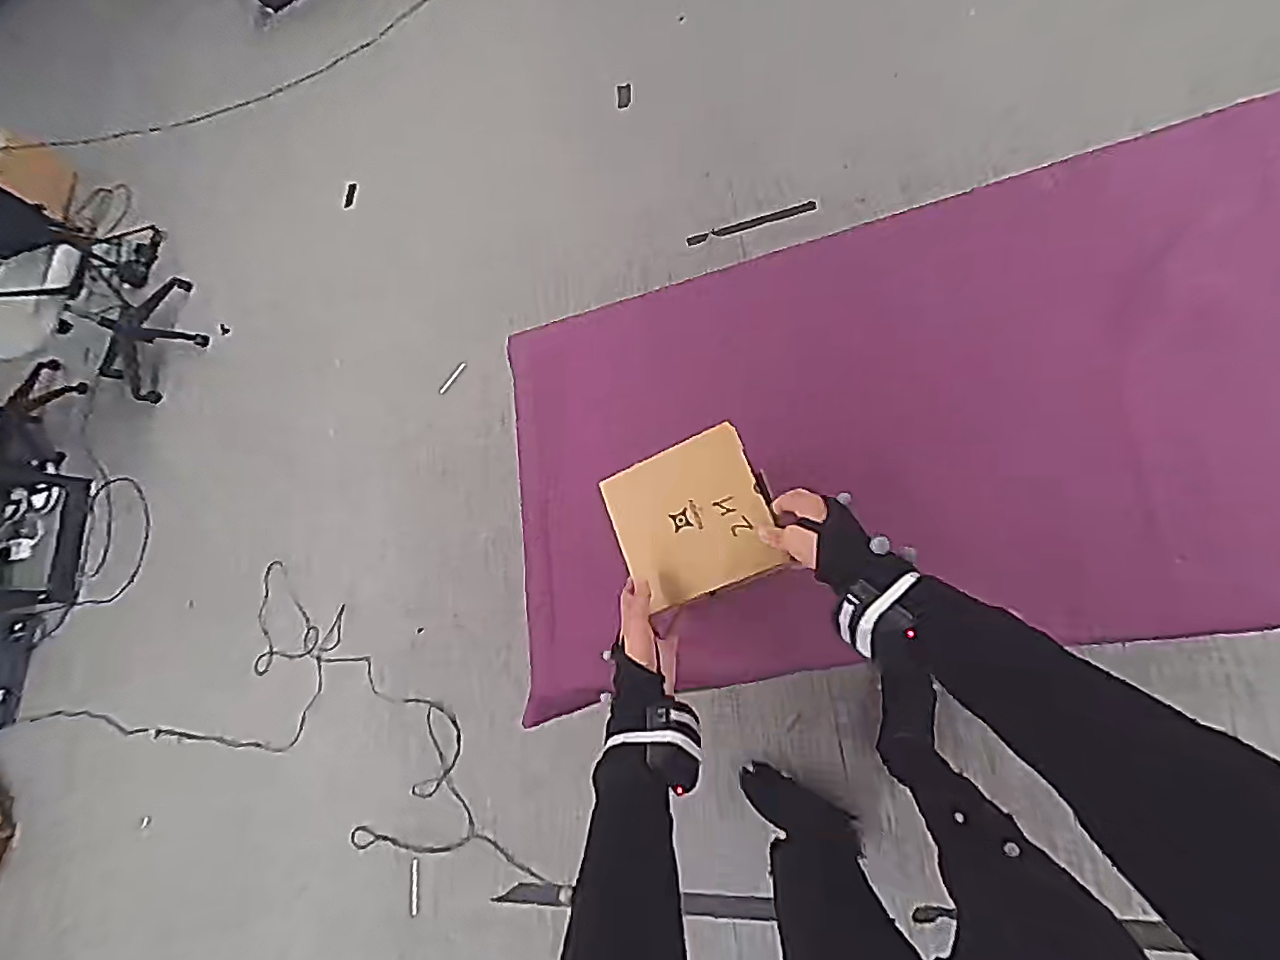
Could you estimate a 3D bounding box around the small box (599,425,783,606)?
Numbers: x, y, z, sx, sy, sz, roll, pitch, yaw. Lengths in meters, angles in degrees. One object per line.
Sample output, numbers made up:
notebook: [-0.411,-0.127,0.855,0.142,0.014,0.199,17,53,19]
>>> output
small box: [0.072,0.056,0.689,0.179,0.176,0.168,-22,74,9]
